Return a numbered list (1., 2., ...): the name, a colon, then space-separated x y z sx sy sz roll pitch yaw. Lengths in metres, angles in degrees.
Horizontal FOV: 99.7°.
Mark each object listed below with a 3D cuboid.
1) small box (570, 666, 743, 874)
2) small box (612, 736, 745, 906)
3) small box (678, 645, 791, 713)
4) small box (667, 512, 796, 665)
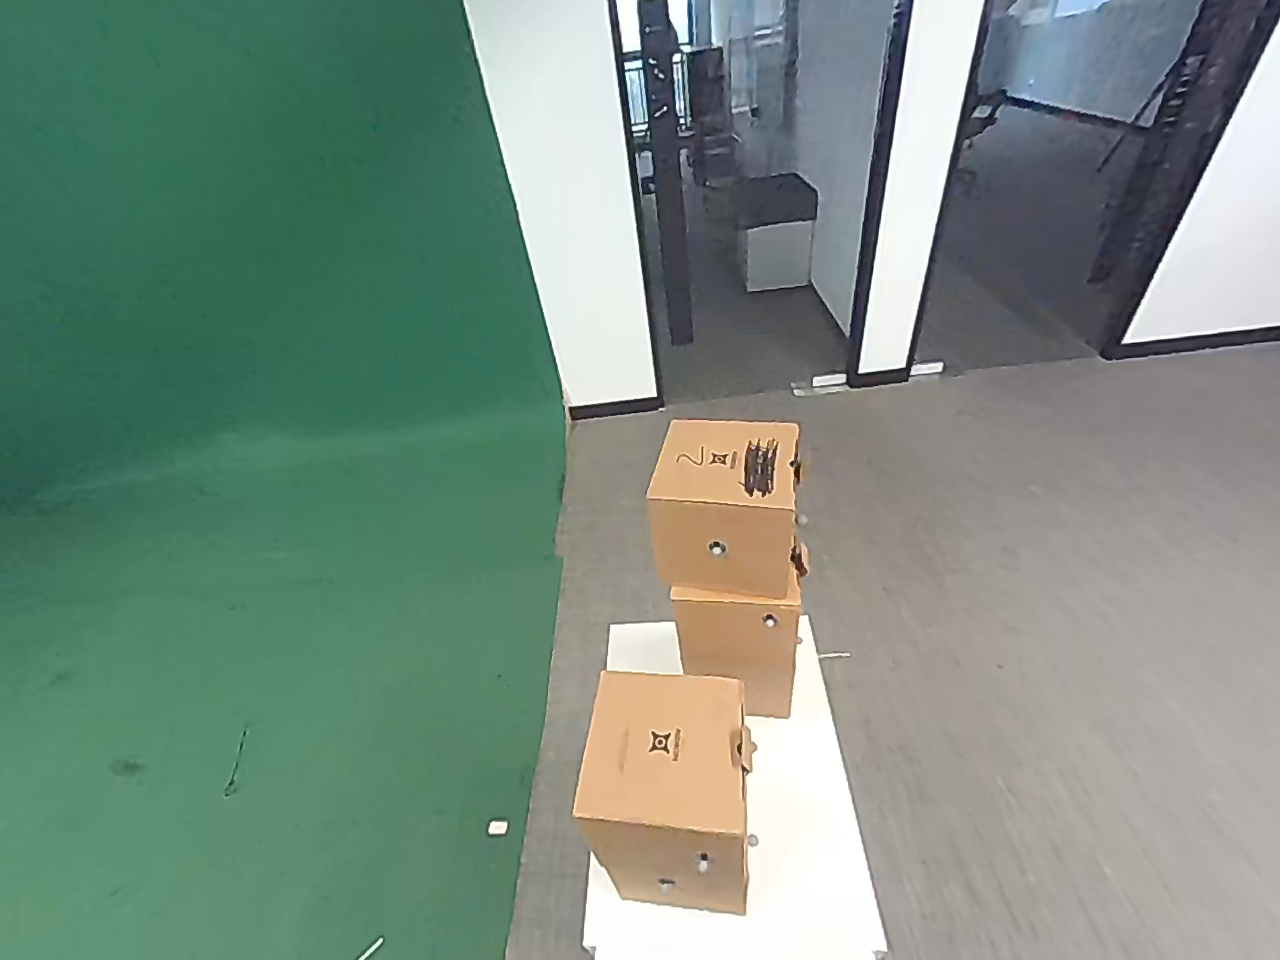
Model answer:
1. small box: 0.033 0.345 0.647 0.179 0.176 0.168 -1 39 10
2. small box: 0.055 0.466 0.754 0.179 0.176 0.168 1 41 10
3. small box: 0.168 0.286 0.941 0.179 0.176 0.168 1 42 12
4. small box: 0.143 0.167 0.834 0.179 0.176 0.168 1 42 11
